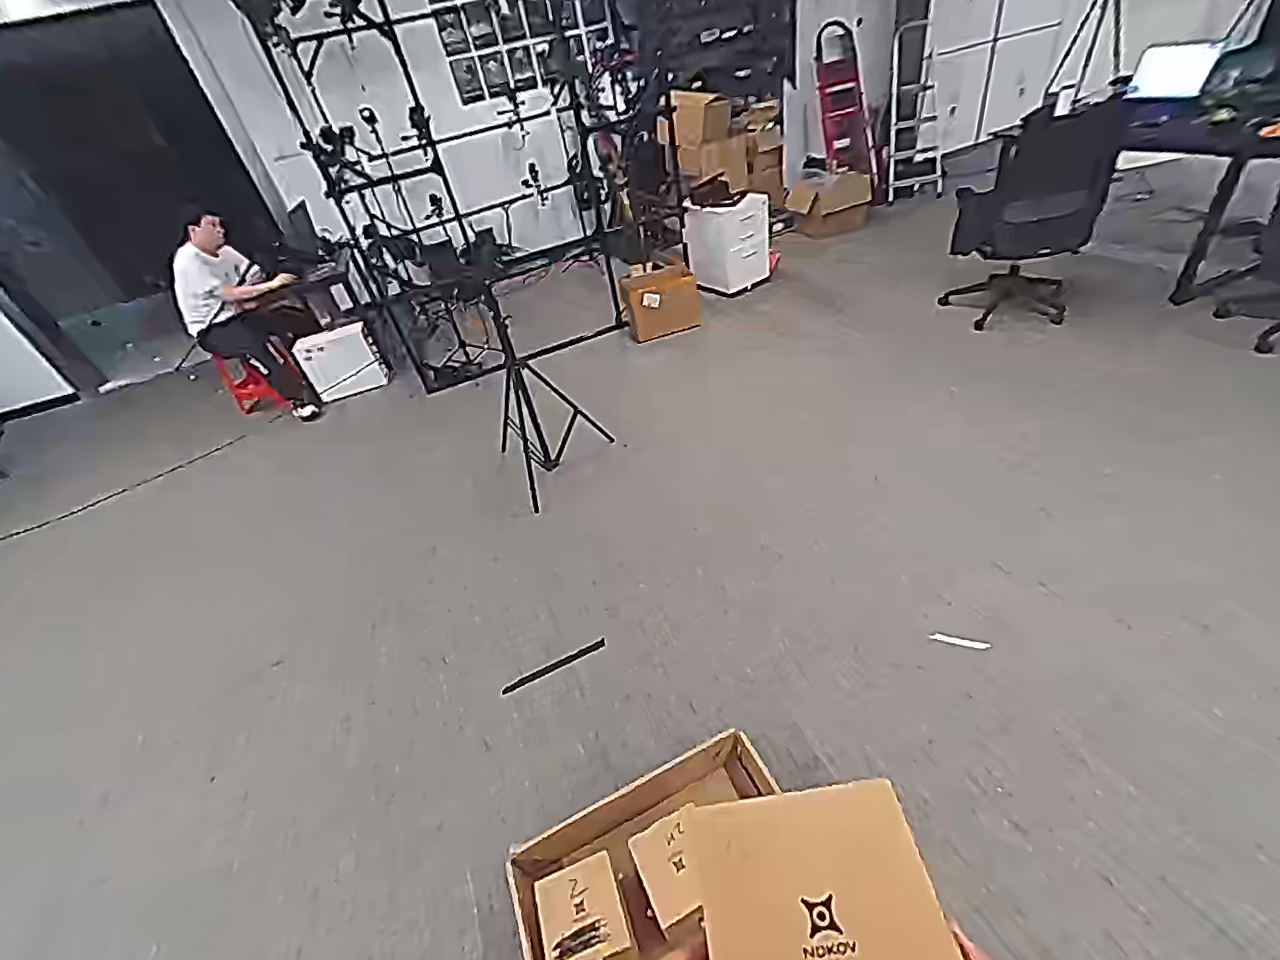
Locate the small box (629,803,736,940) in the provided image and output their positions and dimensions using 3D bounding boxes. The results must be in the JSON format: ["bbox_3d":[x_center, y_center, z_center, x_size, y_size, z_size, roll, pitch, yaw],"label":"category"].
[{"bbox_3d":[0.096,0.857,1.177,0.168,0.176,0.179,-23,39,-13],"label":"small box"}]
